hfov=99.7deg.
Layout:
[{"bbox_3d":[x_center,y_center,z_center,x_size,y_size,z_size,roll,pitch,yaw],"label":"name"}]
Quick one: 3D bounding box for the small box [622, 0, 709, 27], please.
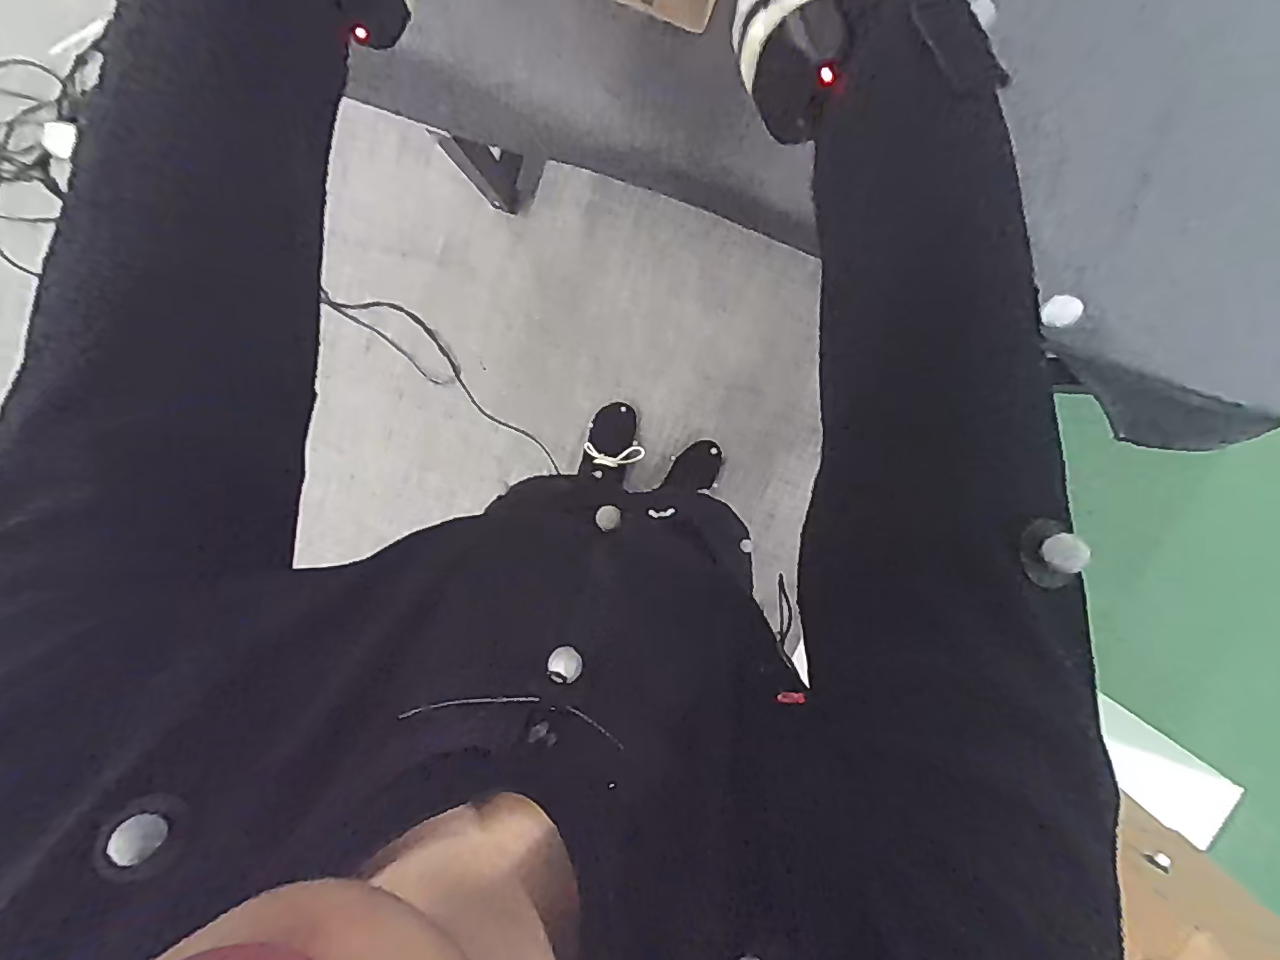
[{"bbox_3d":[0.014,-0.545,0.447,0.168,0.176,0.179,19,99,-5],"label":"small box"}]
